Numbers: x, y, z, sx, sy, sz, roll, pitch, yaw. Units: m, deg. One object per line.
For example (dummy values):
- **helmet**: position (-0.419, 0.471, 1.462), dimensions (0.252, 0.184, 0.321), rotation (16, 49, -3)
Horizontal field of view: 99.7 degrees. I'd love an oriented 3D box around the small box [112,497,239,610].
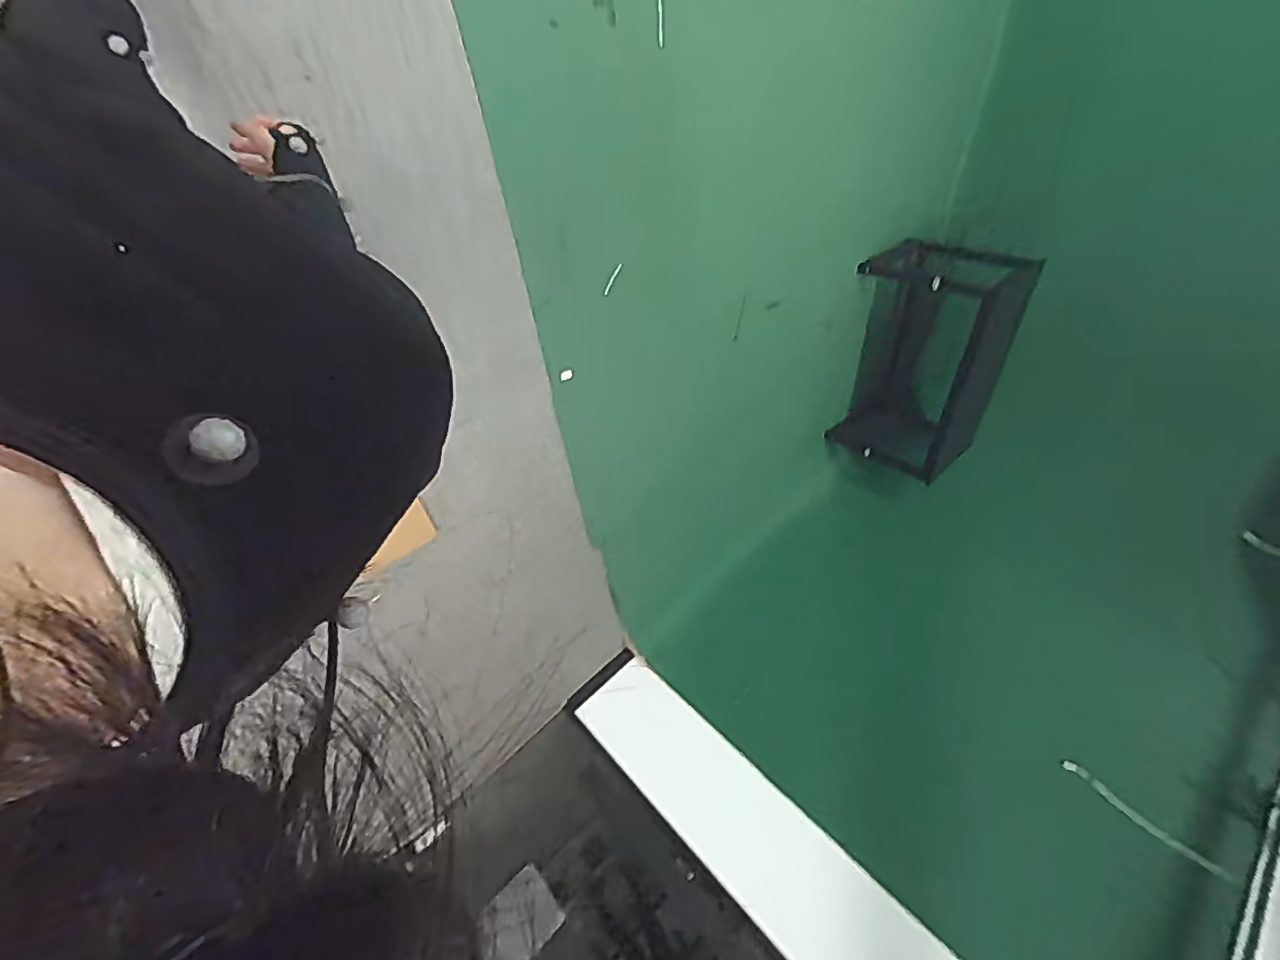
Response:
- **small box**: position (-1.085, 0.161, 1.263), dimensions (0.168, 0.176, 0.179), rotation (-28, 136, -31)
